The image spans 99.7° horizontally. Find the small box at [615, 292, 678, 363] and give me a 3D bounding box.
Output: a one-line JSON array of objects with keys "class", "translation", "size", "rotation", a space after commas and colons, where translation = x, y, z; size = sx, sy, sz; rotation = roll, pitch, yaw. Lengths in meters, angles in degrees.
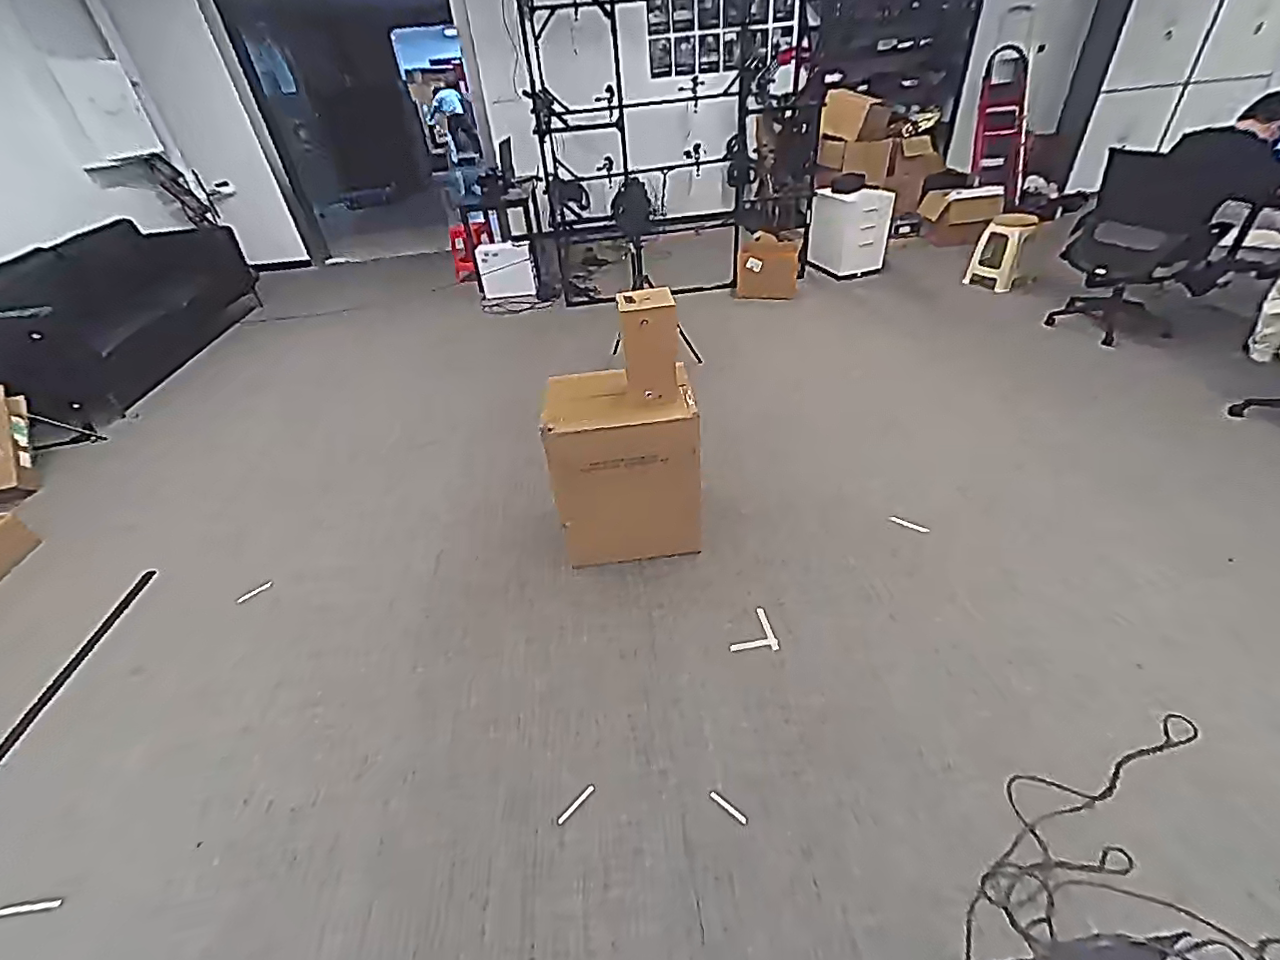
[{"class": "small box", "translation": [0.021, -0.490, 1.745], "size": [0.179, 0.176, 0.168], "rotation": [-8, 38, -1]}]

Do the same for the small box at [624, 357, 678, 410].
[{"class": "small box", "translation": [0.035, -0.361, 1.846], "size": [0.168, 0.176, 0.179], "rotation": [-9, 39, 0]}]
